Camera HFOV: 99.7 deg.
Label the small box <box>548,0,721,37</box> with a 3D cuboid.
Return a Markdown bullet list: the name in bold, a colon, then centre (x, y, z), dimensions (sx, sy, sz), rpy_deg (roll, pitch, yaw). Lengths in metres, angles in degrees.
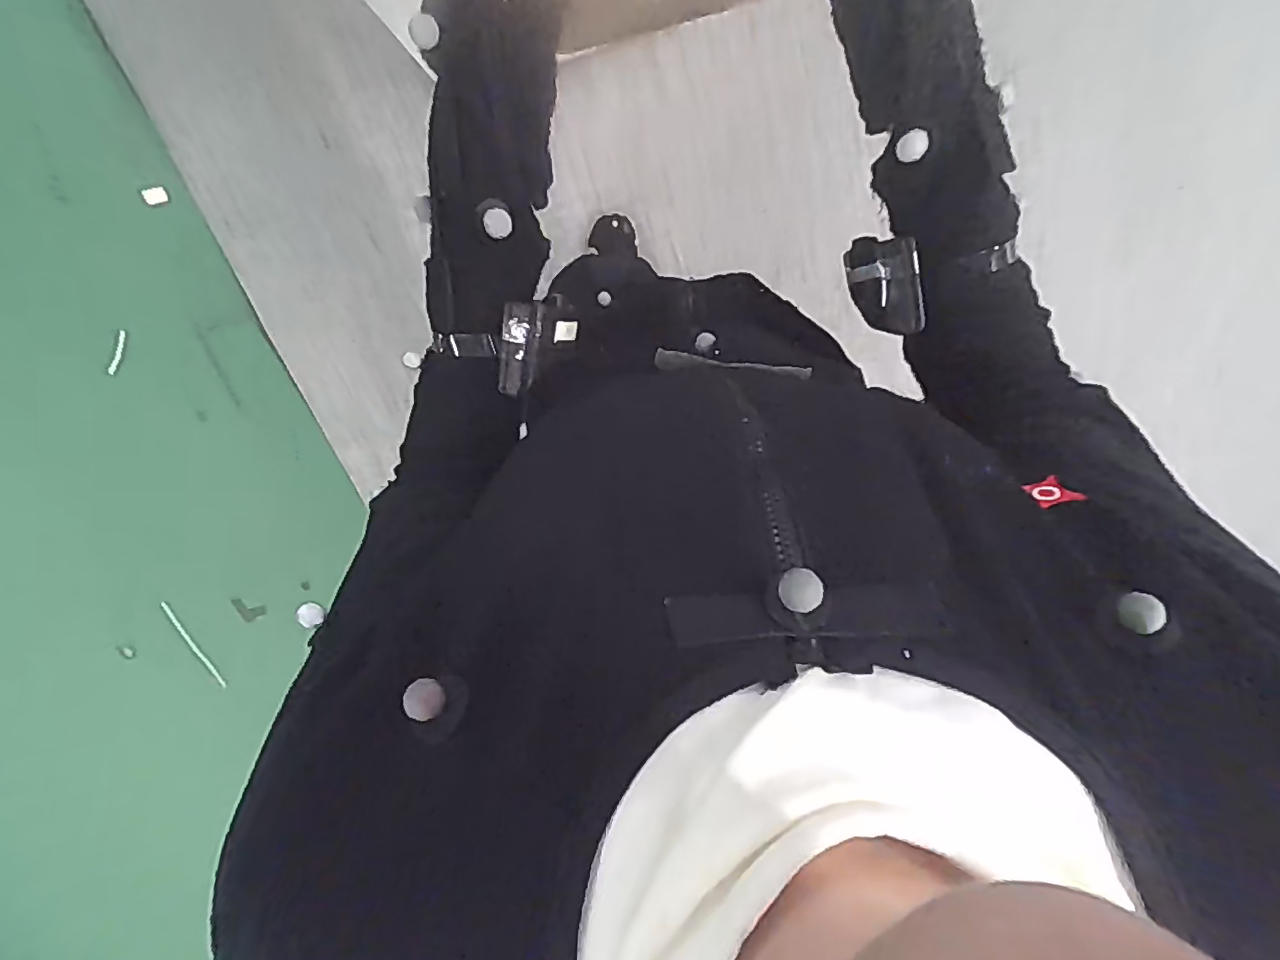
- **small box**: centre (0.001, -0.382, 0.288), dimensions (0.168, 0.176, 0.179), rpy_deg (-12, 118, 5)
